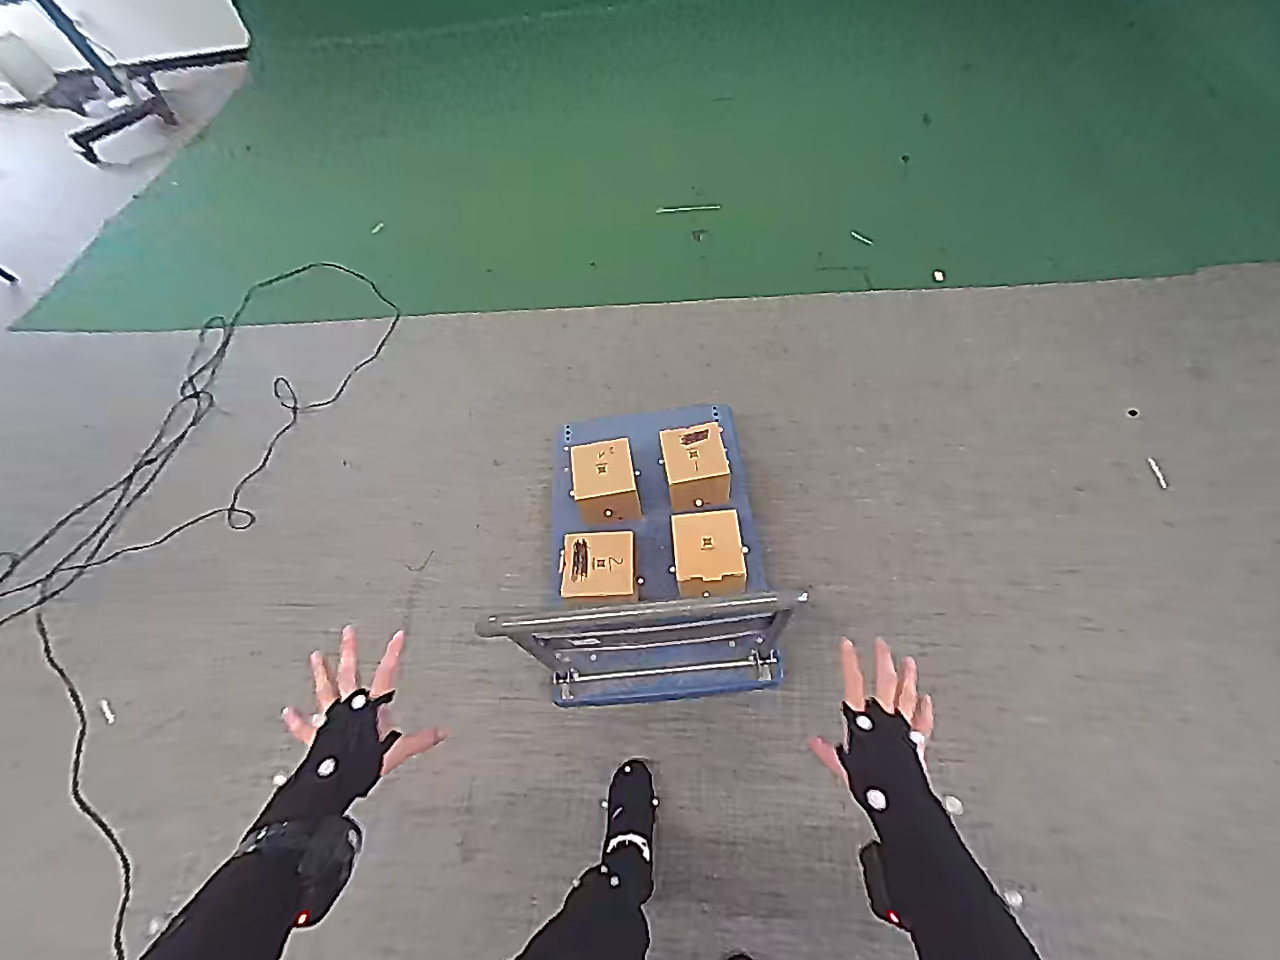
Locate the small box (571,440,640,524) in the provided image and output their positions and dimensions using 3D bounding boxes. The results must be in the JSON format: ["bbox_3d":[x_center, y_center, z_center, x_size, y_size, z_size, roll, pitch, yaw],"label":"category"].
[{"bbox_3d":[-0.096,0.013,1.549,0.168,0.176,0.179,-9,58,1],"label":"small box"}]

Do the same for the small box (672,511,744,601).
[{"bbox_3d":[0.172,0.199,1.405,0.168,0.176,0.179,-6,59,3],"label":"small box"}]

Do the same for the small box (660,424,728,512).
[{"bbox_3d":[0.152,-0.032,1.545,0.168,0.176,0.179,-10,59,2],"label":"small box"}]
